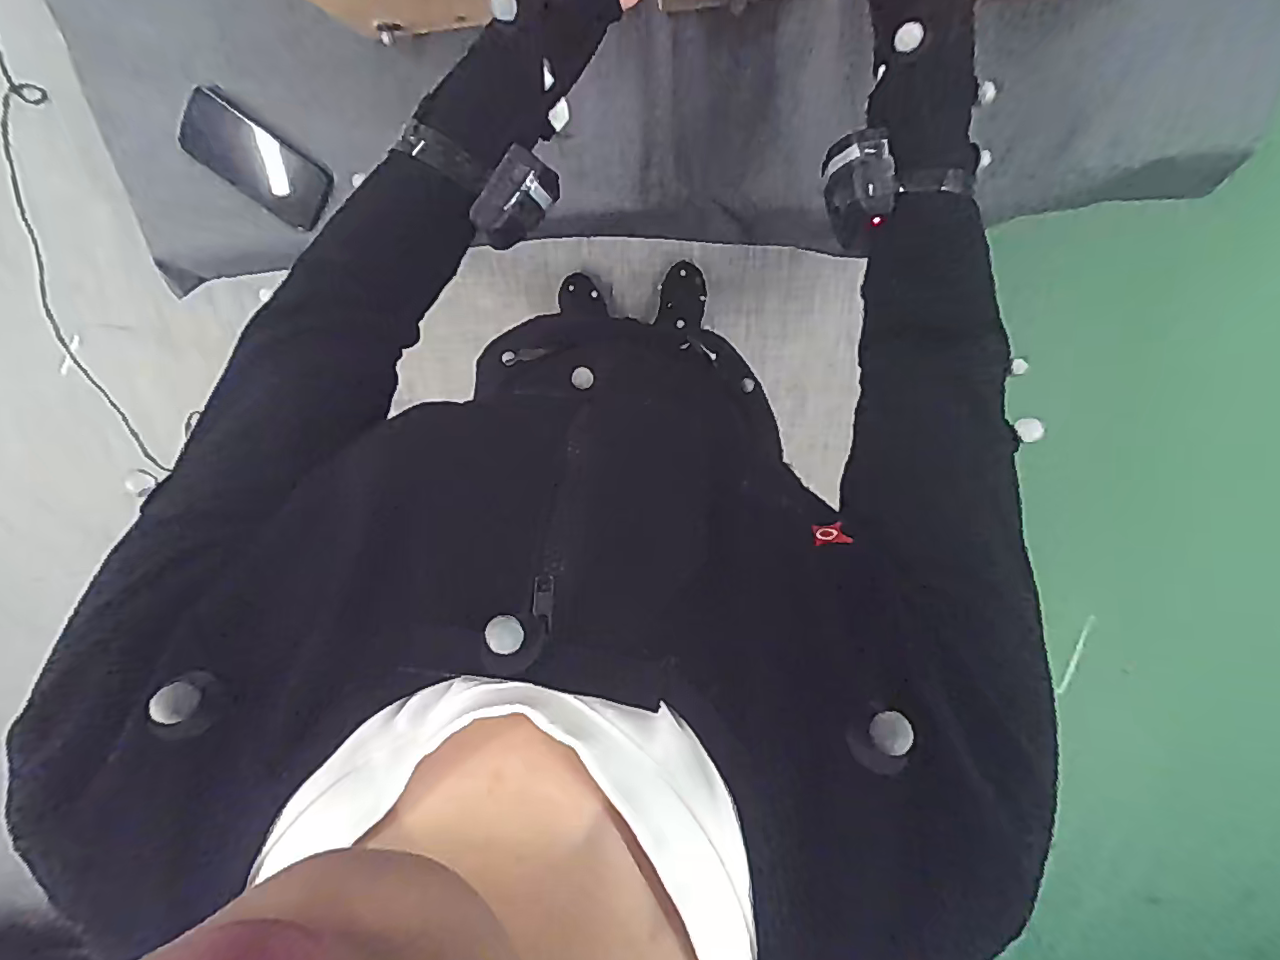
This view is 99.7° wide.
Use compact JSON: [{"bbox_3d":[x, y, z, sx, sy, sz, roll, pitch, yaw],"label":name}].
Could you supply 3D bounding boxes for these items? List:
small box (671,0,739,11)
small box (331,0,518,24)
[{"bbox_3d":[0.088,-0.509,0.414,0.168,0.176,0.179,-4,115,7],"label":"small box"},{"bbox_3d":[-0.206,-0.502,0.433,0.168,0.176,0.179,-4,113,5],"label":"small box"}]
